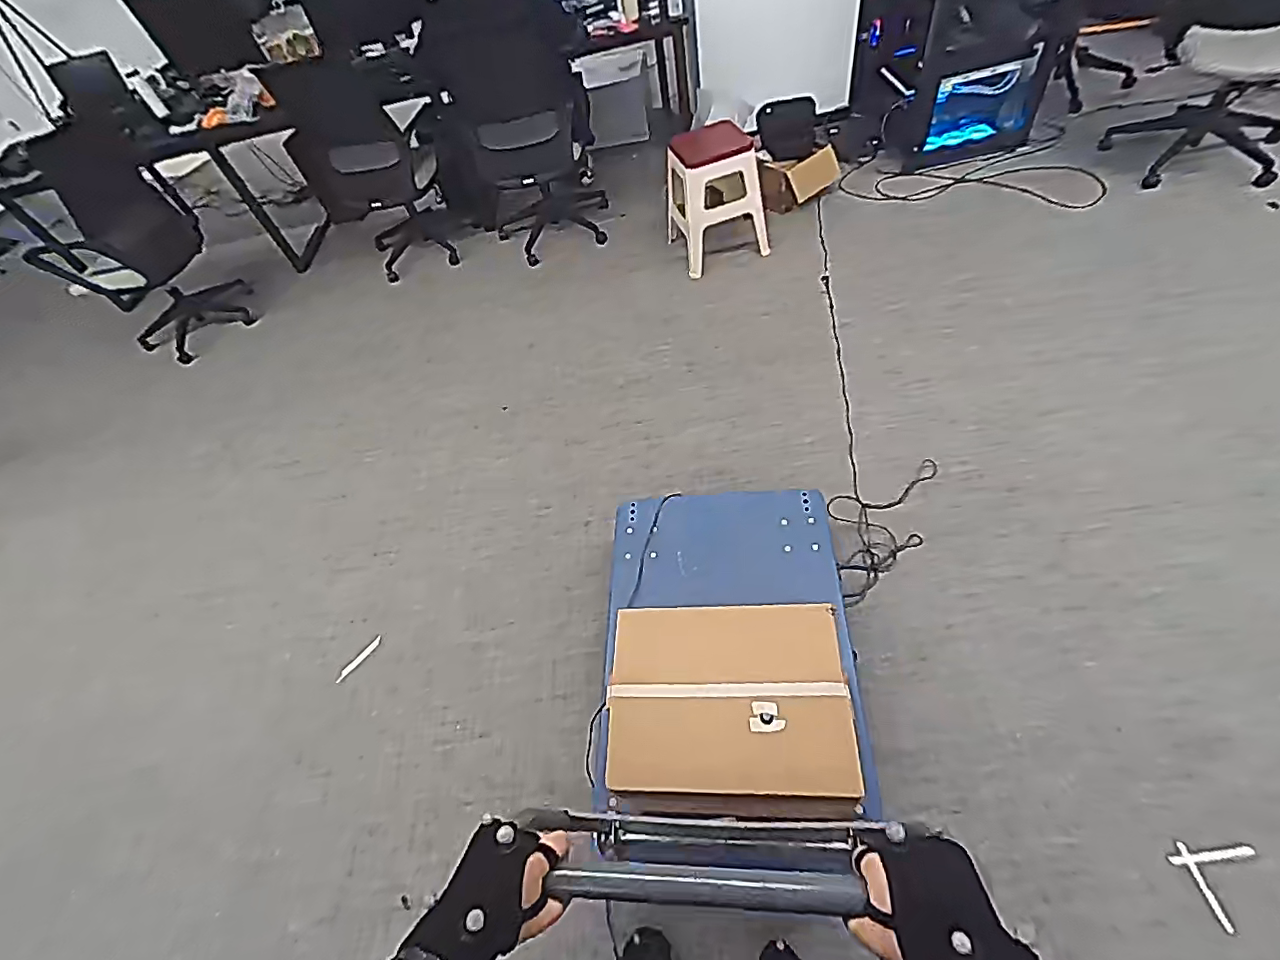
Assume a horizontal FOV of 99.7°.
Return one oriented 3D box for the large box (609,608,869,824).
[{"bbox_3d":[0.172,0.458,1.031,0.408,0.320,0.320,-4,53,9],"label":"large box"}]
